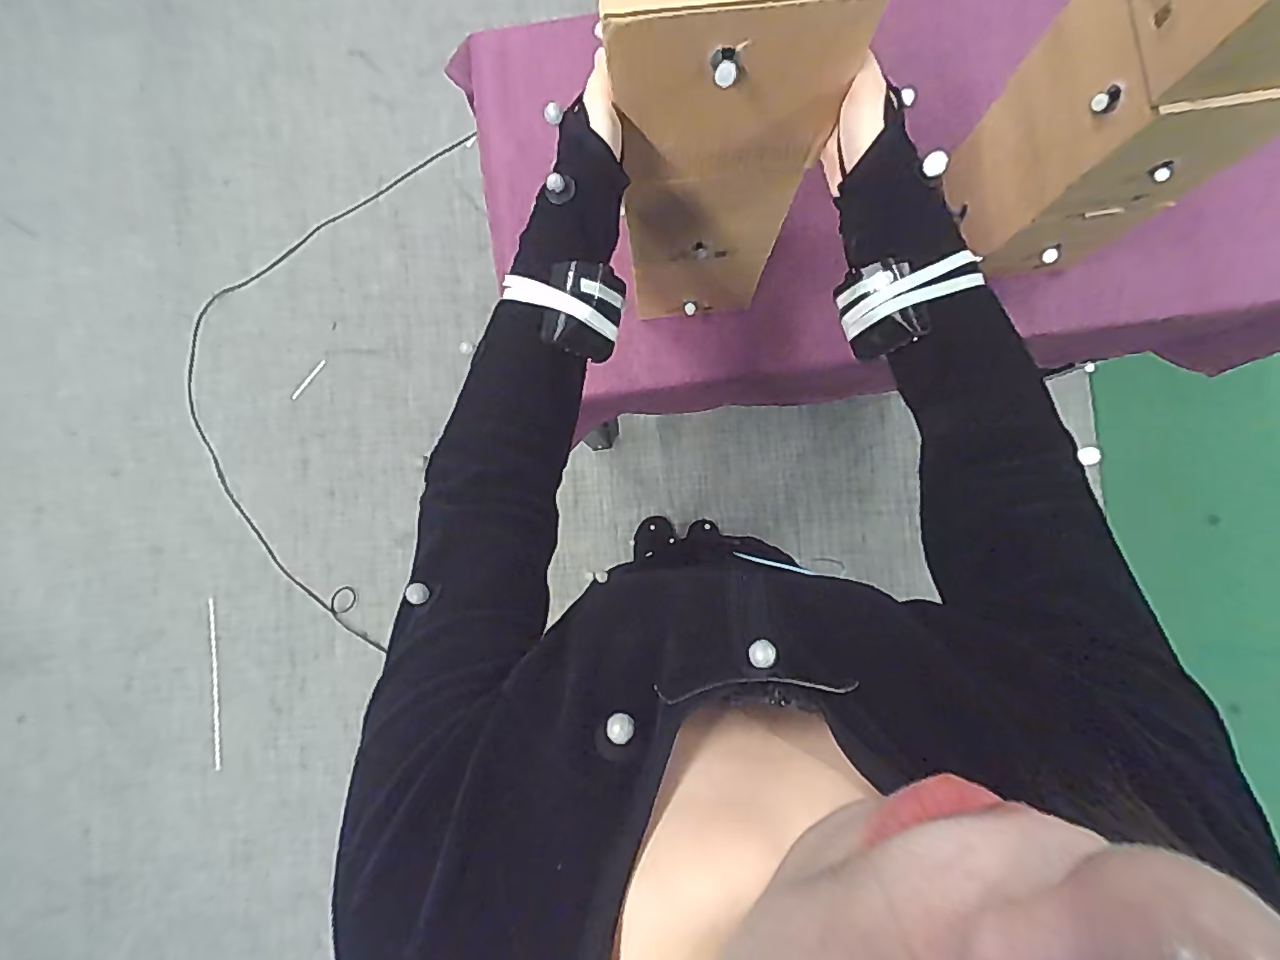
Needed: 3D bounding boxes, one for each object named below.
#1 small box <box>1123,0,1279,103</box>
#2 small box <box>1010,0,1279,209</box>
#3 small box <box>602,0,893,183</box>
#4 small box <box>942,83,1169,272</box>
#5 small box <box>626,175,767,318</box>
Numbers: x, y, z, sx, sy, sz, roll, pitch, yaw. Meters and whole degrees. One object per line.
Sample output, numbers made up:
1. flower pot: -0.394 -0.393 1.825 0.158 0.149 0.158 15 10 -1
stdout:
1. small box: 0.508 -0.416 0.390 0.179 0.176 0.168 -7 85 3
2. small box: 0.520 -0.402 0.552 0.168 0.176 0.179 -6 86 2
3. small box: 0.064 -0.352 0.406 0.179 0.176 0.168 -3 87 3
4. small box: 0.531 -0.392 0.717 0.168 0.176 0.179 -6 87 2
5. small box: 0.068 -0.338 0.734 0.168 0.176 0.179 -5 87 2
